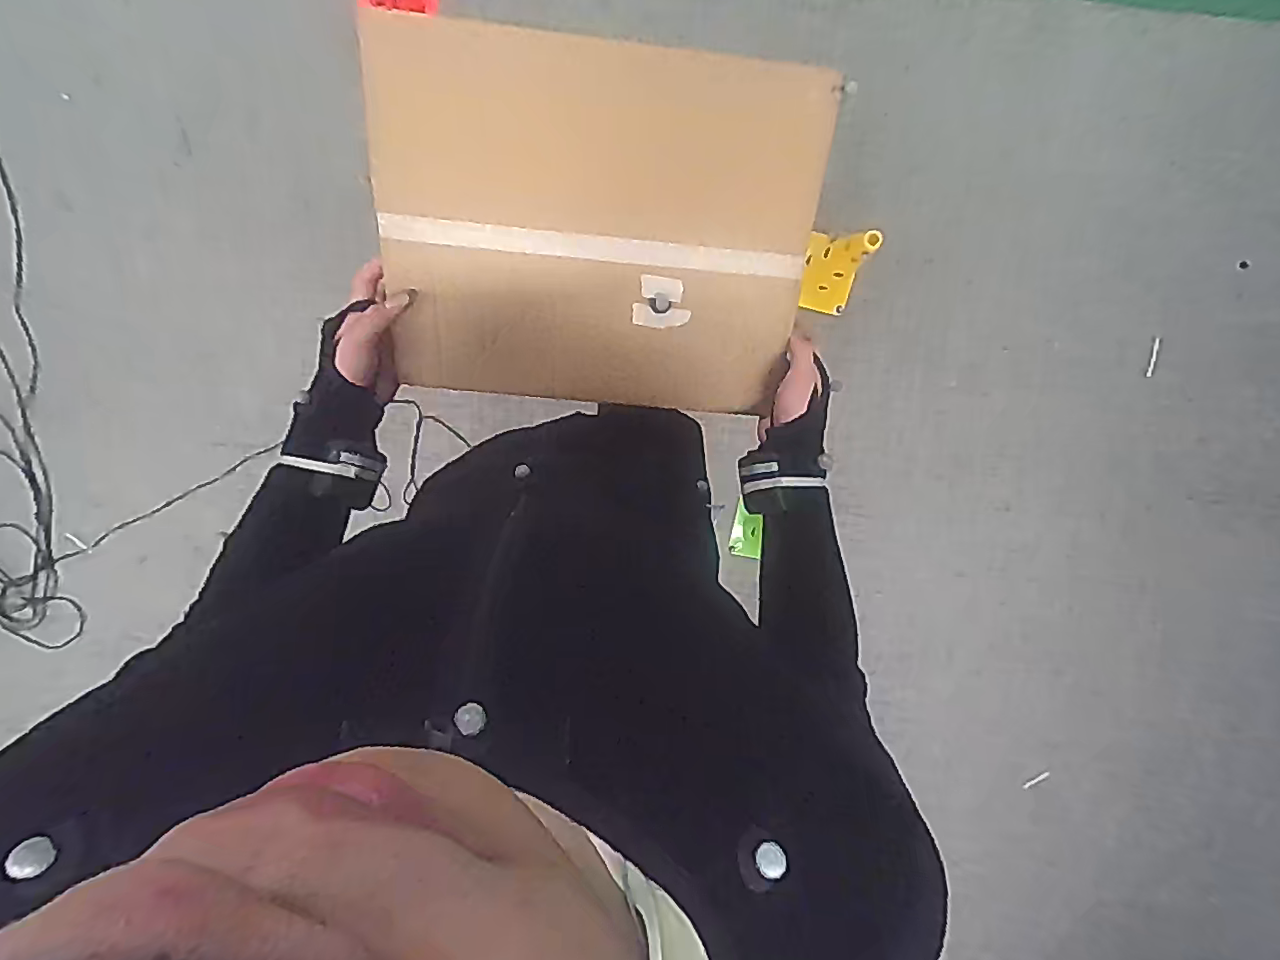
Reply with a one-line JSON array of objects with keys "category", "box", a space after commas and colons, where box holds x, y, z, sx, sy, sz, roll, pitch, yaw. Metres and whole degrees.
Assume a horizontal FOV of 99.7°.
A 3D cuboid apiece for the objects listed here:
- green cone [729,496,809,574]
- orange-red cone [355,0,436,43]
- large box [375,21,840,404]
[{"category": "green cone", "box": [0.389, 0.185, 1.487, 0.200, 0.368, 0.202, 10, 99, -3]}, {"category": "orange-red cone", "box": [-0.621, -1.184, 1.210, 0.199, 0.360, 0.198, 12, 100, -1]}, {"category": "large box", "box": [-0.041, -0.296, 0.655, 0.408, 0.320, 0.320, 4, 118, -5]}]
